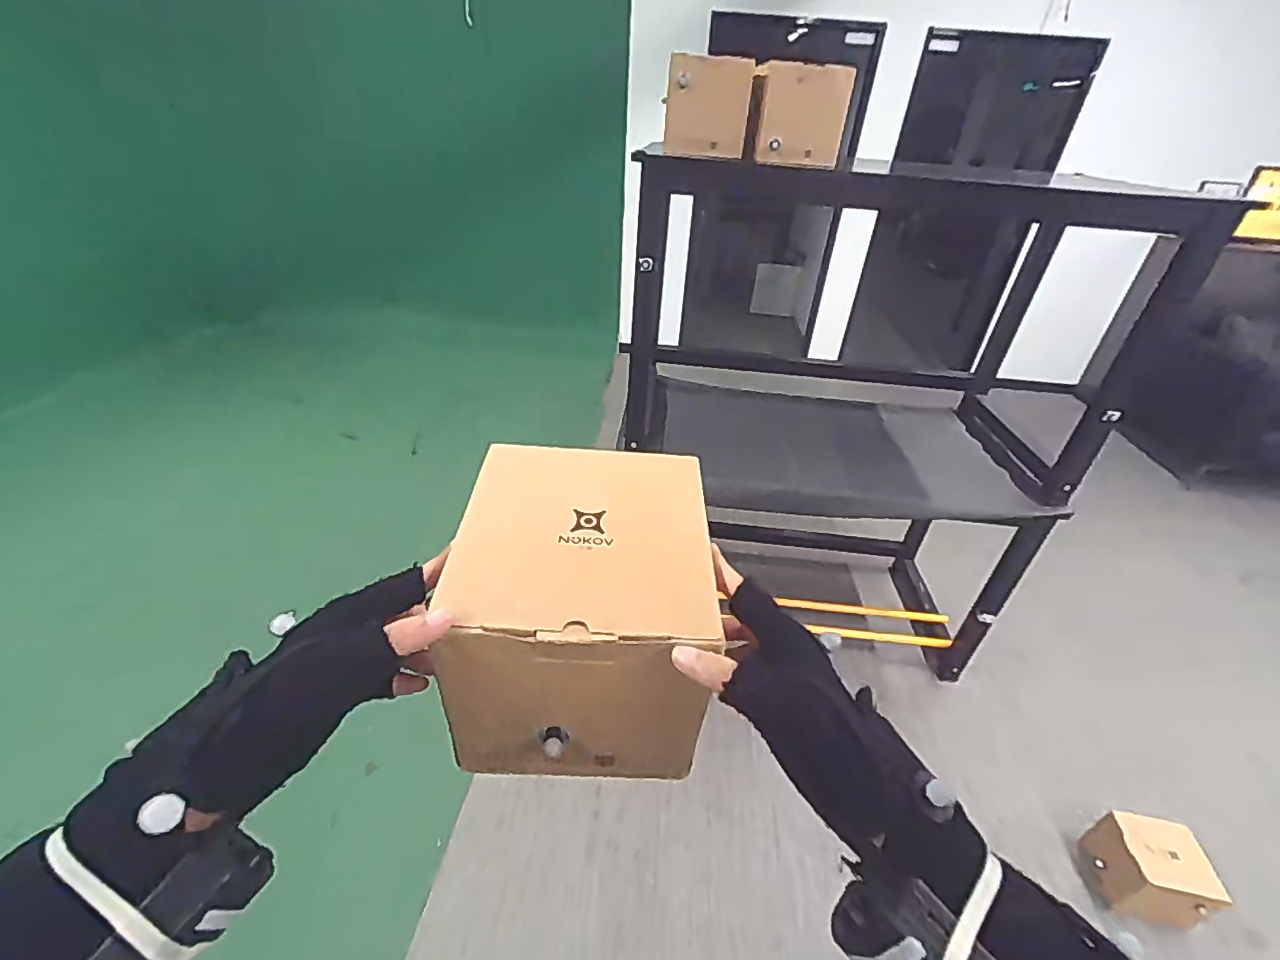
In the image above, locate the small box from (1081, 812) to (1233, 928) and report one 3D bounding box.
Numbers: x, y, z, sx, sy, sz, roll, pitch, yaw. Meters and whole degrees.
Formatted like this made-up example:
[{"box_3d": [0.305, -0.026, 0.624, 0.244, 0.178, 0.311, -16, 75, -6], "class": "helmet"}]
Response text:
[{"box_3d": [1.238, 0.949, 1.312, 0.179, 0.176, 0.168, 9, 33, 8], "class": "small box"}]
